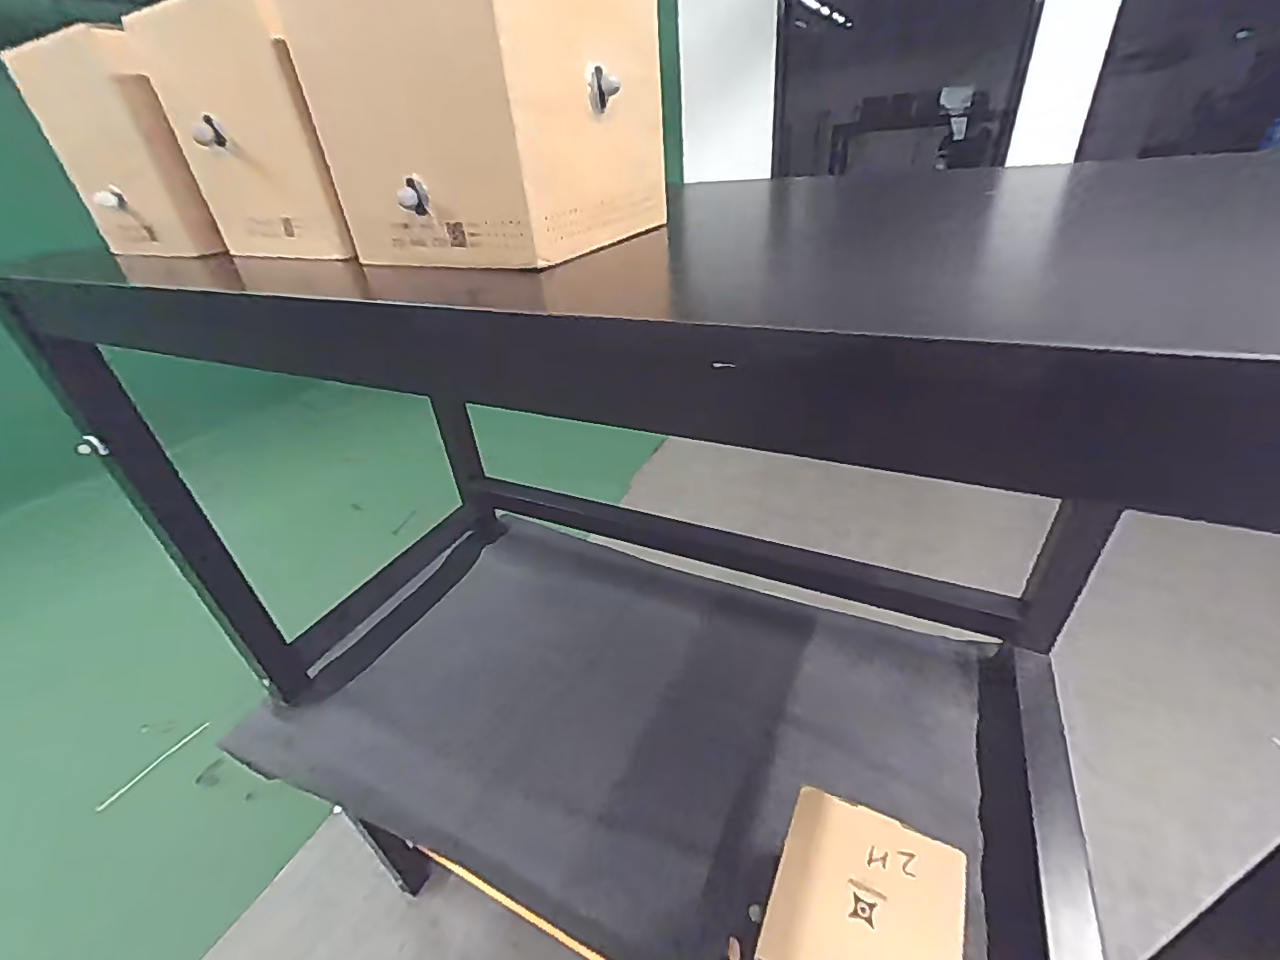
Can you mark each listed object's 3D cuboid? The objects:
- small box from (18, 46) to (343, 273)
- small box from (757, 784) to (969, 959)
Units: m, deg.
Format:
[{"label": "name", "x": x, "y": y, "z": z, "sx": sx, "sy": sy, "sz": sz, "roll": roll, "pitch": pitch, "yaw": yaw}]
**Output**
[{"label": "small box", "x": -0.439, "y": -0.321, "z": 0.552, "sx": 0.168, "sy": 0.176, "sz": 0.179, "roll": 12, "pitch": 37, "yaw": 26}, {"label": "small box", "x": 0.227, "y": 0.471, "z": 0.560, "sx": 0.168, "sy": 0.176, "sz": 0.179, "roll": 12, "pitch": 37, "yaw": 26}]
